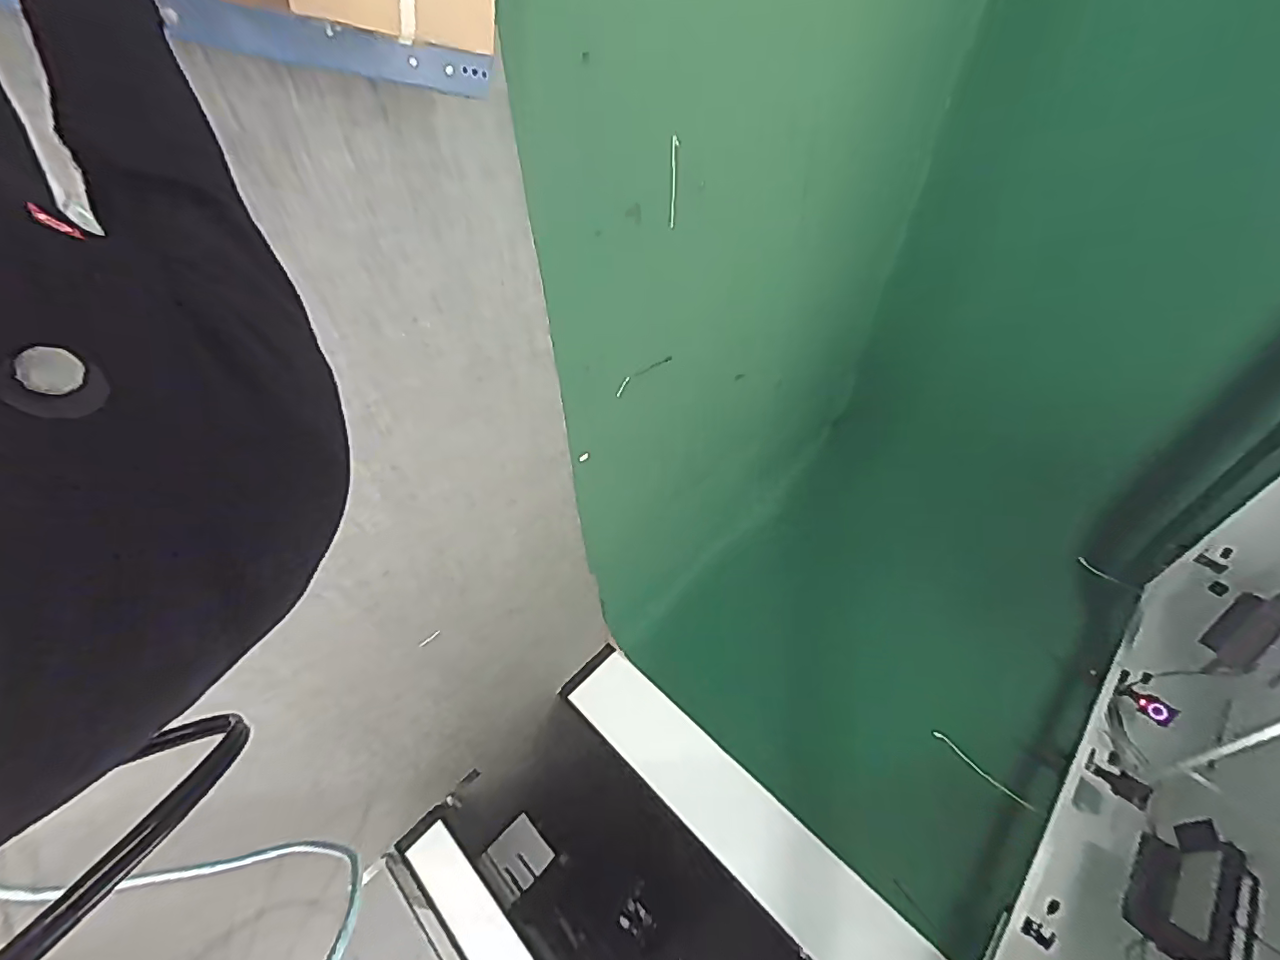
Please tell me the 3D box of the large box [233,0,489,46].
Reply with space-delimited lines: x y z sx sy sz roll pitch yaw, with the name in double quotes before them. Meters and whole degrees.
"large box" -0.434 -0.907 0.770 0.320 0.320 0.408 -26 139 -42
